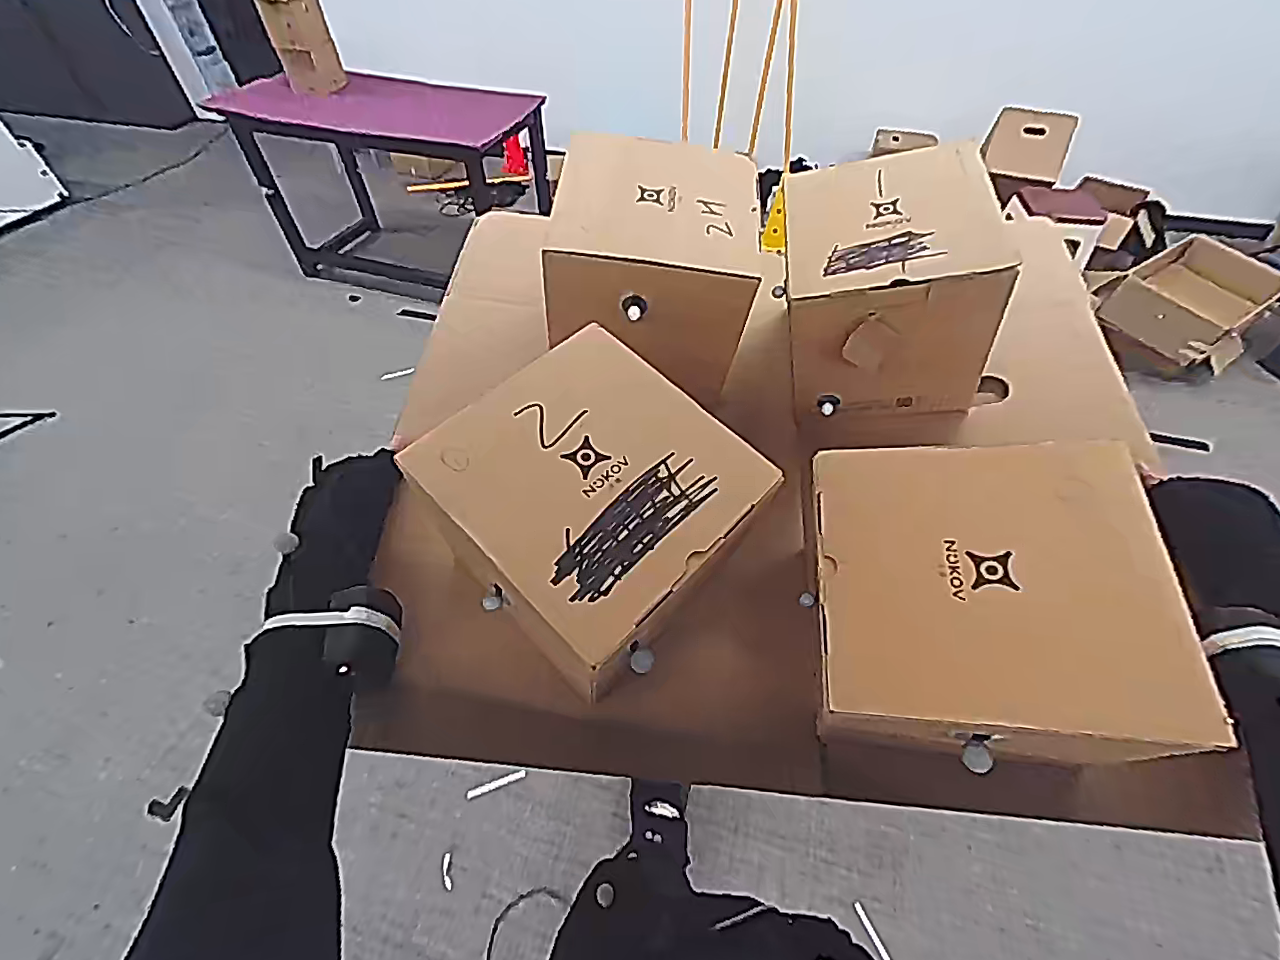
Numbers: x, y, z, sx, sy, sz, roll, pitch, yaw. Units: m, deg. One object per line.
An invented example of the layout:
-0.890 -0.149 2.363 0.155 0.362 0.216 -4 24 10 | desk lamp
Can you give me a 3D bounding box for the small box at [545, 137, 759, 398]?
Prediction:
0.011 -0.200 0.538 0.179 0.176 0.168 7 61 -2 | small box
